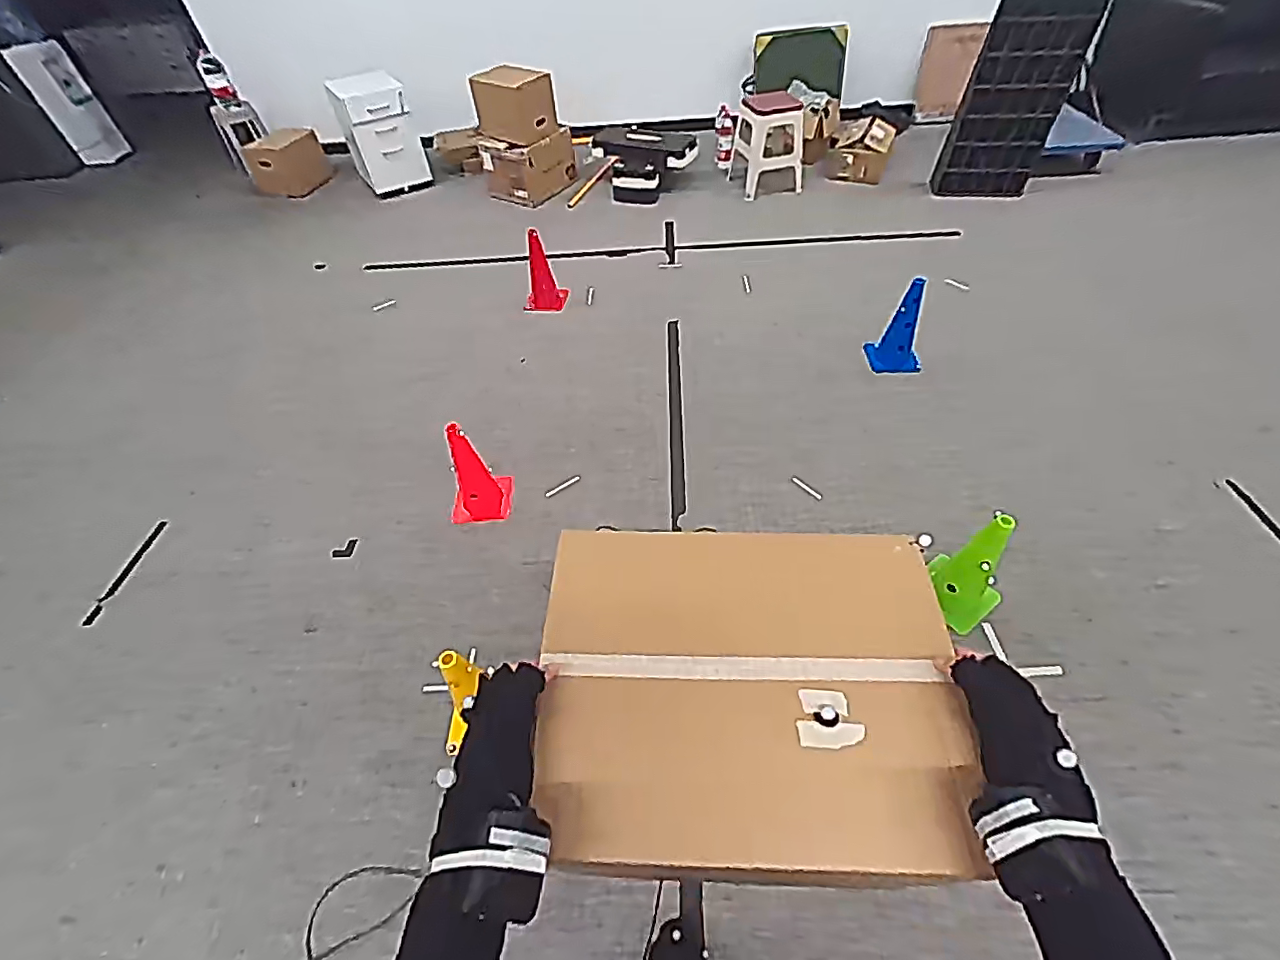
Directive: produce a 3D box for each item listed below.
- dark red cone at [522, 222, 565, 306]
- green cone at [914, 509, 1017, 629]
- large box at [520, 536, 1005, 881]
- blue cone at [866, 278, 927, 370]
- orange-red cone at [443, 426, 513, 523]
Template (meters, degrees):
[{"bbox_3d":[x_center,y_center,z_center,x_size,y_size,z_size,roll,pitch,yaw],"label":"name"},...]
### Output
[{"bbox_3d":[-0.494,-1.044,2.616,0.201,0.394,0.202,3,50,6],"label":"dark red cone"},{"bbox_3d":[0.909,0.207,1.454,0.202,0.368,0.200,-31,55,-22],"label":"green cone"},{"bbox_3d":[0.102,0.278,0.646,0.408,0.320,0.320,1,52,2],"label":"large box"},{"bbox_3d":[1.069,-0.637,2.190,0.192,0.380,0.193,1,50,4],"label":"blue cone"},{"bbox_3d":[-0.570,-0.041,1.792,0.198,0.360,0.199,-5,51,2],"label":"orange-red cone"}]
